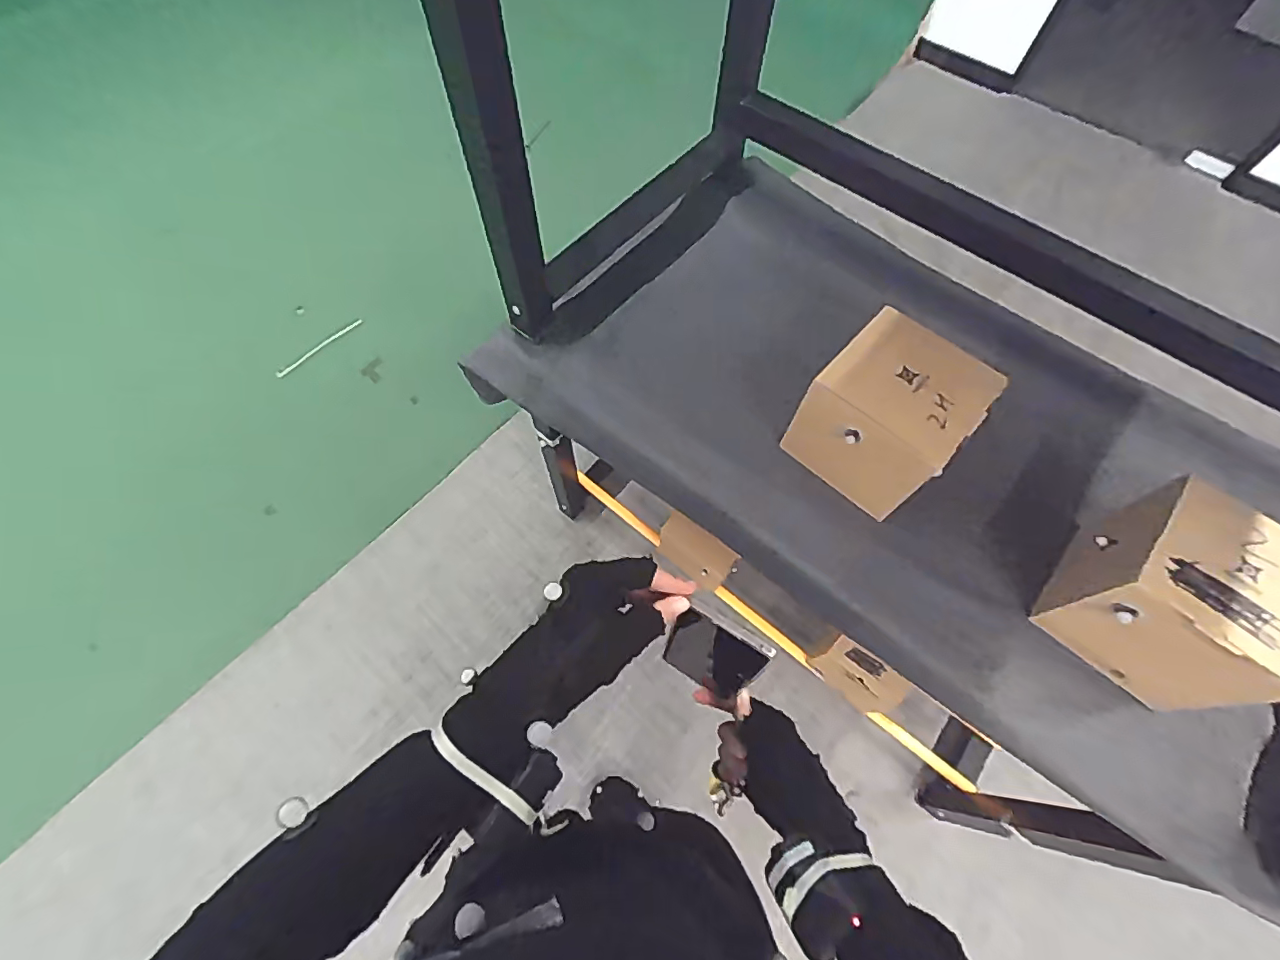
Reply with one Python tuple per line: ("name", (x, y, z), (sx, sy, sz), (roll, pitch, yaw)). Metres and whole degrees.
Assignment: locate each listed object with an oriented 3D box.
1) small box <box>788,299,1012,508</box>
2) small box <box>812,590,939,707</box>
("small box", (0.324, -0.092, 0.711), (0.179, 0.176, 0.168), (40, 70, 16))
("small box", (0.501, 0.375, 1.183), (0.168, 0.176, 0.179), (41, 71, 16))
